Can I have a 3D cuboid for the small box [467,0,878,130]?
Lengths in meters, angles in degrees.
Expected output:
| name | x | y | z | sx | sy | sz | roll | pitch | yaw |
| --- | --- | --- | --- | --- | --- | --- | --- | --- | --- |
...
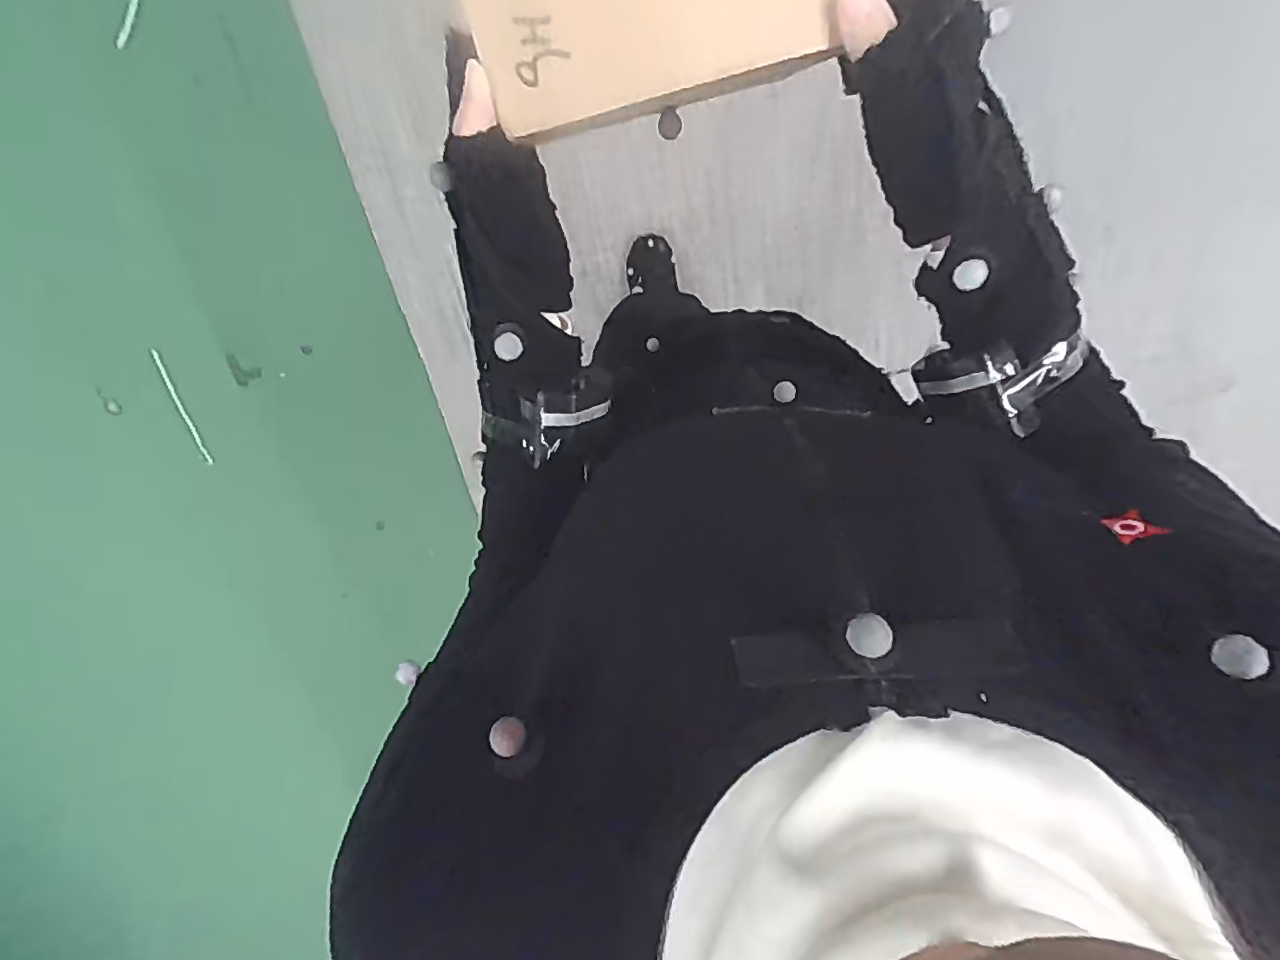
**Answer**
| name | x | y | z | sx | sy | sz | roll | pitch | yaw |
| --- | --- | --- | --- | --- | --- | --- | --- | --- | --- |
| small box | -0.002 | -0.291 | 0.270 | 0.179 | 0.176 | 0.168 | -12 | 120 | 4 |
